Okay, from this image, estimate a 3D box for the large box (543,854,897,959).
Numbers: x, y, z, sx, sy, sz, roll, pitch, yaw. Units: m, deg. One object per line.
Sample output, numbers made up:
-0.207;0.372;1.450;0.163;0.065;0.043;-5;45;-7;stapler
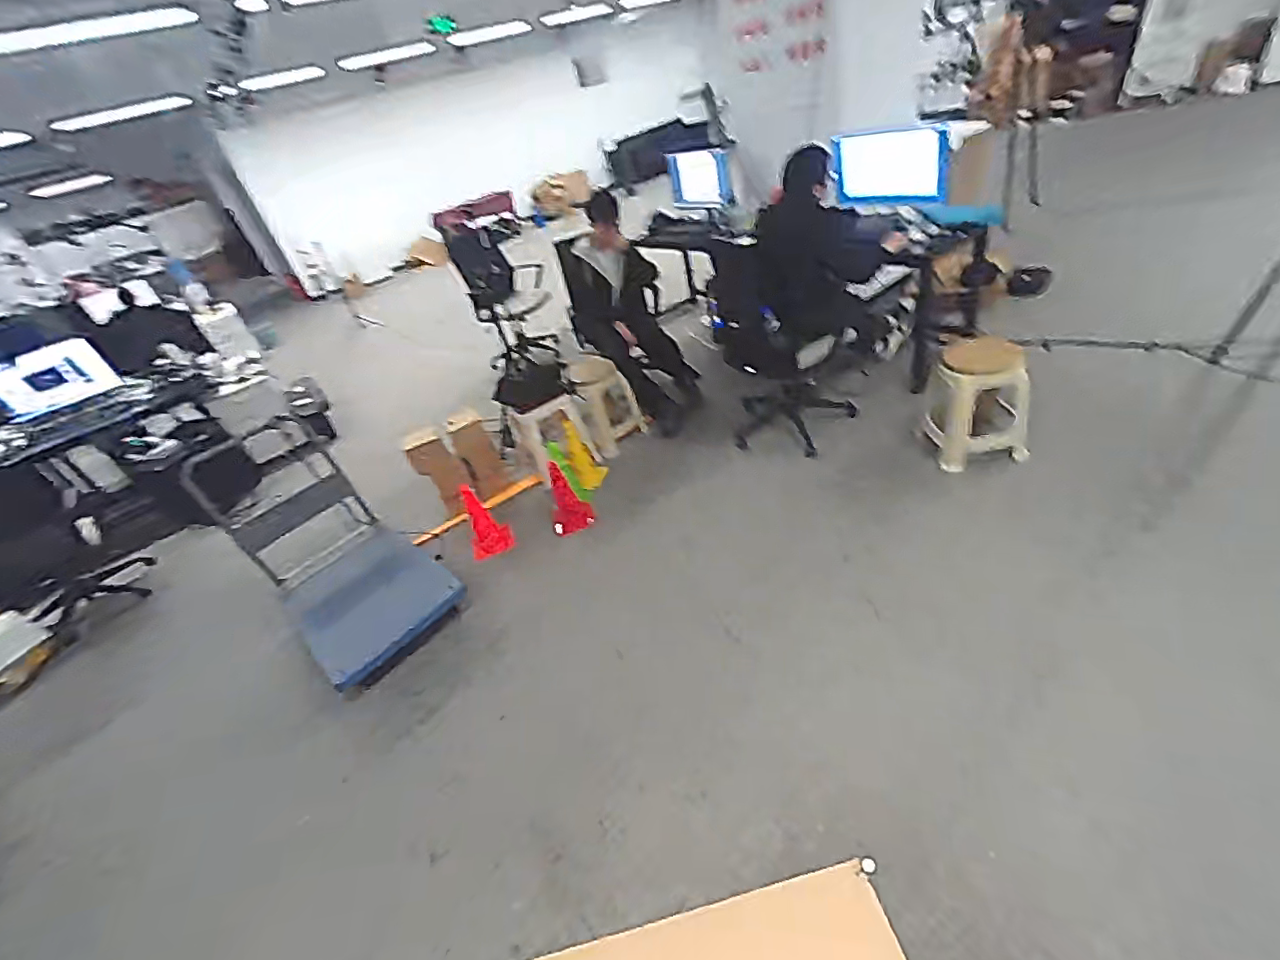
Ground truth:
0.089;0.666;0.539;0.408;0.320;0.320;-13;36;-7;large box
